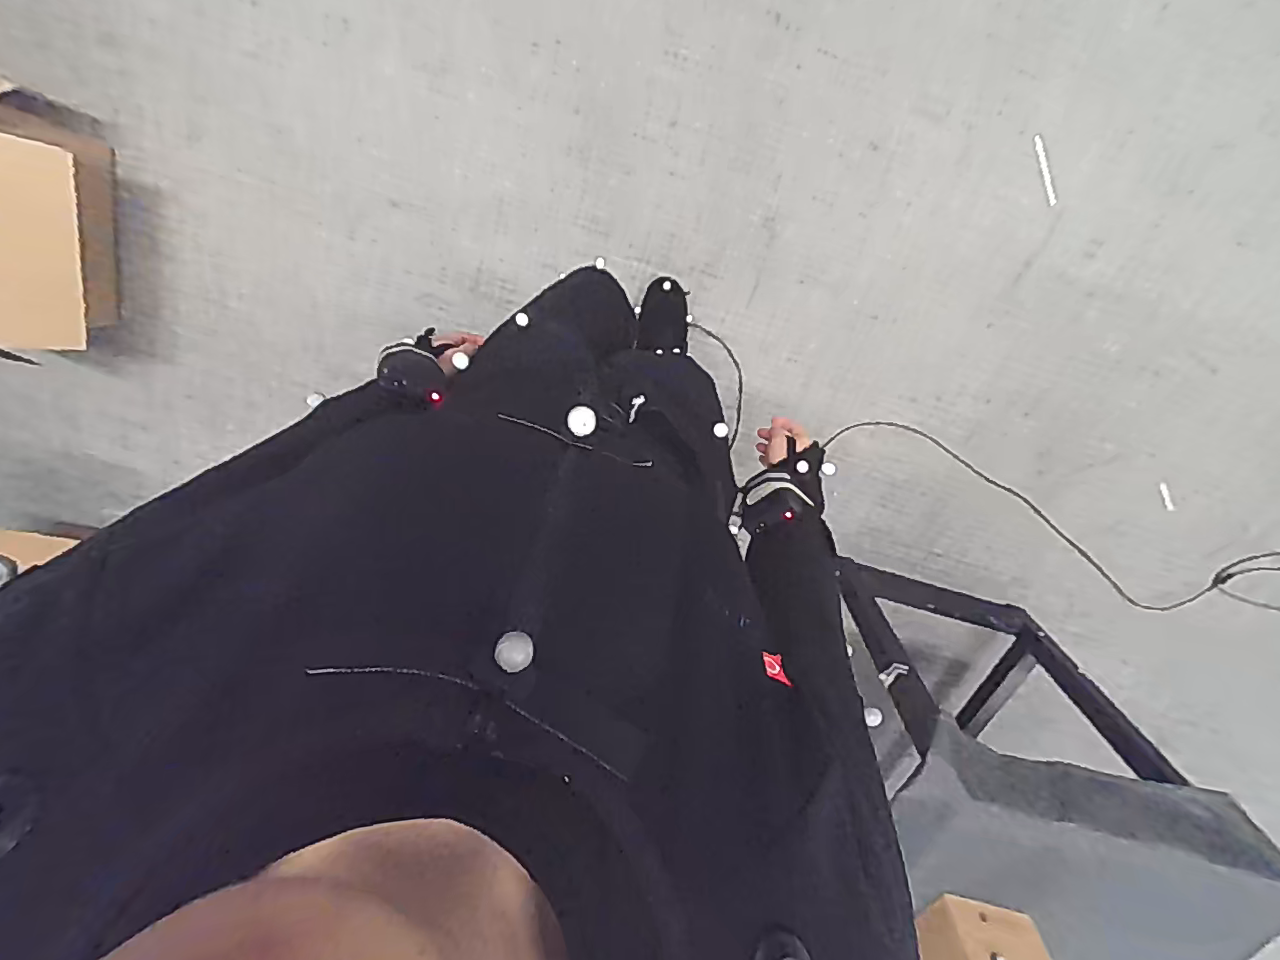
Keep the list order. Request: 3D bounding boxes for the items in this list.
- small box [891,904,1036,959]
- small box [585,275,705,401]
[{"bbox_3d":[0.536,0.826,0.864,0.168,0.176,0.179,19,114,-5],"label":"small box"},{"bbox_3d":[0.014,-0.292,1.156,0.176,0.168,0.179,-23,128,36],"label":"small box"}]
